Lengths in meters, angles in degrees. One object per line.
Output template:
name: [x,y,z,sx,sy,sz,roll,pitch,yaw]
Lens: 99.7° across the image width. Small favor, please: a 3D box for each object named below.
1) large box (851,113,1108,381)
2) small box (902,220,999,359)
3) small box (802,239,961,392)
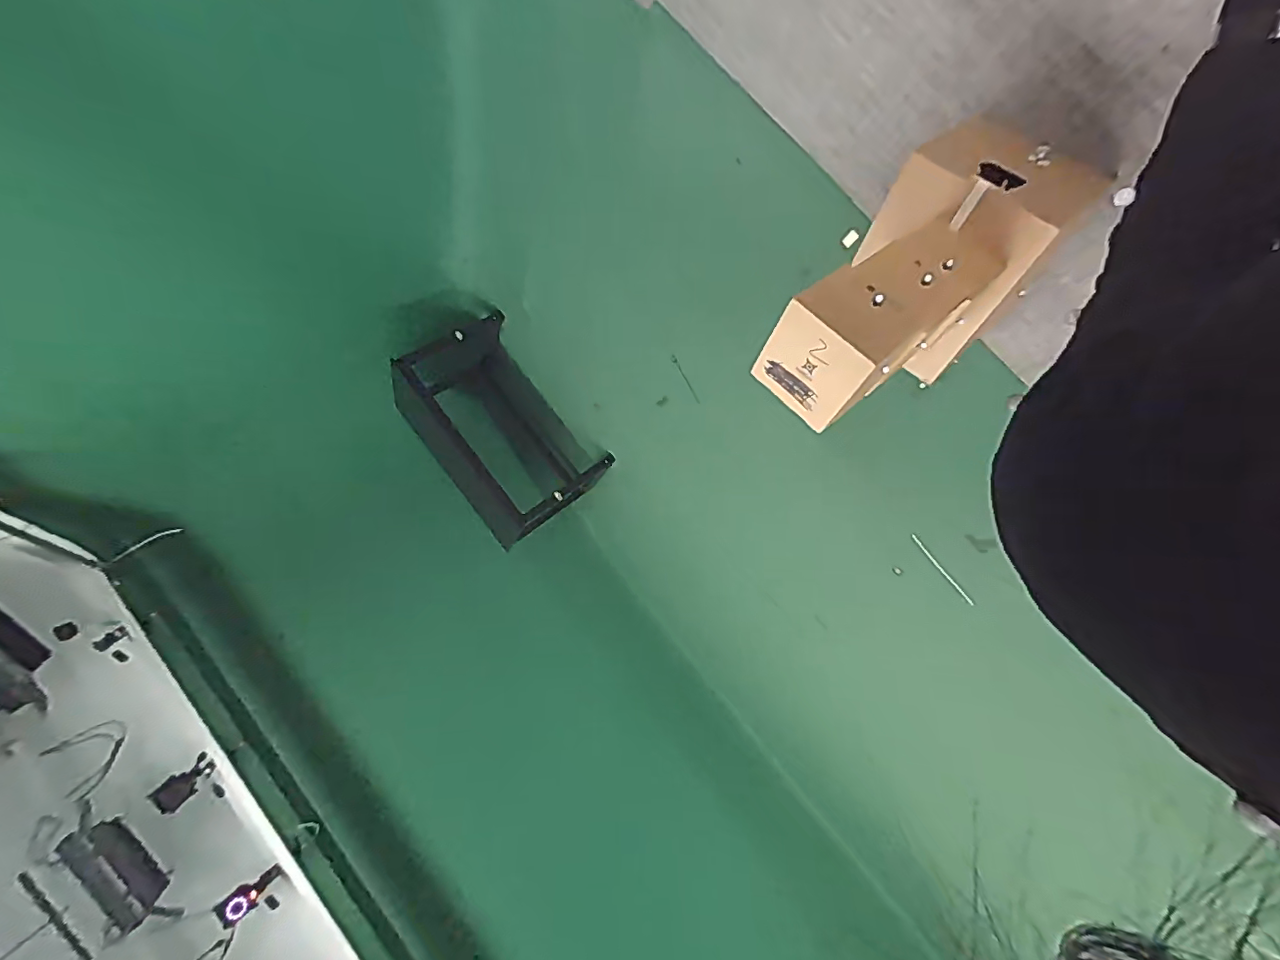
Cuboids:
large box: [0.707,-0.517,1.216,0.320,0.320,0.408,44,152,19]
small box: [0.559,-0.380,1.069,0.179,0.176,0.168,45,151,14]
small box: [0.441,-0.301,0.991,0.168,0.176,0.179,46,150,13]
